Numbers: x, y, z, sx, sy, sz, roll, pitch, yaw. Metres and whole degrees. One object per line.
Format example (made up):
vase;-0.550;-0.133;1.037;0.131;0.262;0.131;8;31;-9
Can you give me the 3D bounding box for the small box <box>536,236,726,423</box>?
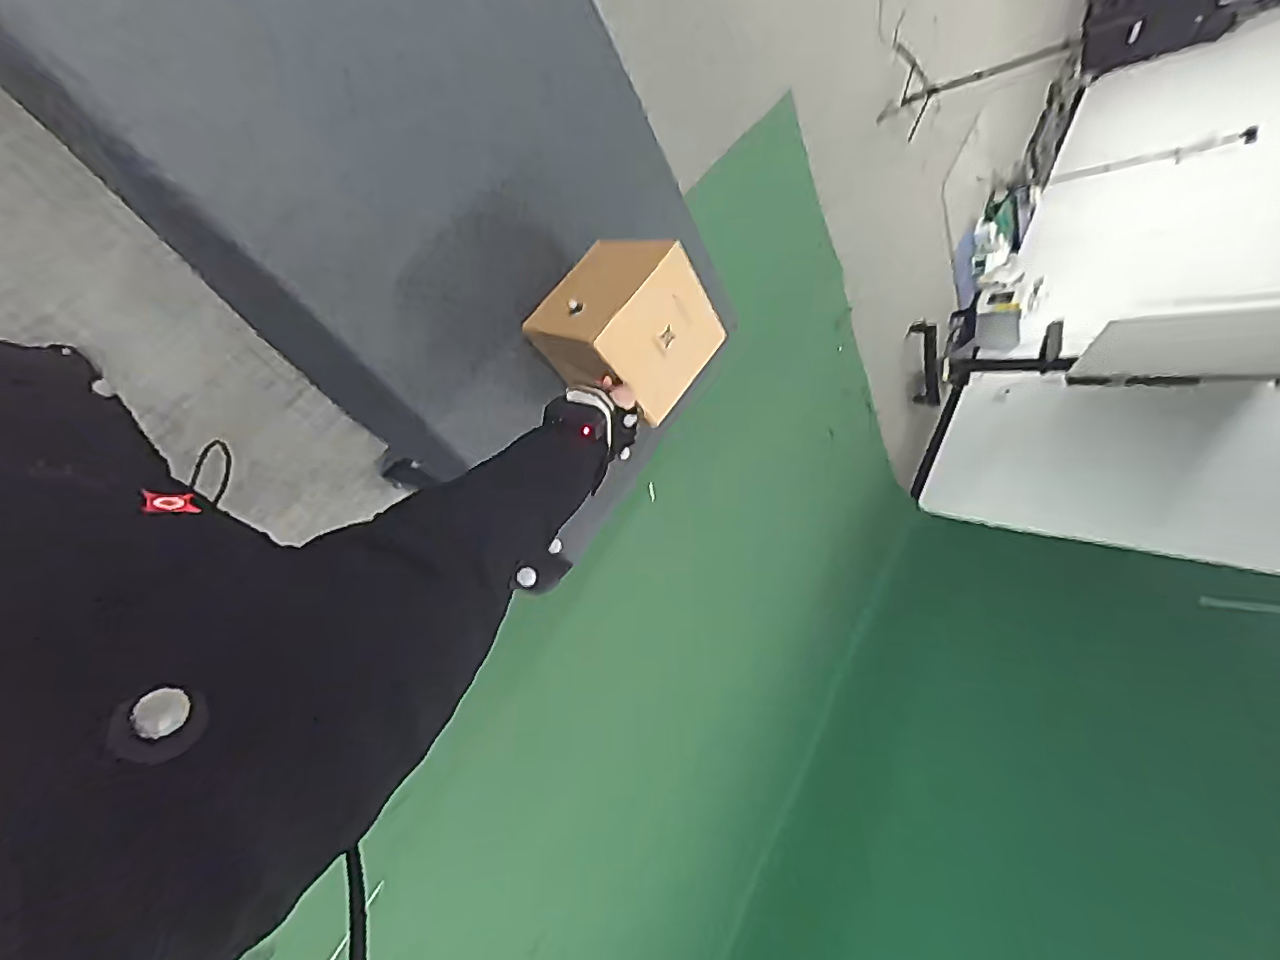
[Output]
small box;-0.018;-0.209;0.745;0.179;0.176;0.168;-53;136;-12
